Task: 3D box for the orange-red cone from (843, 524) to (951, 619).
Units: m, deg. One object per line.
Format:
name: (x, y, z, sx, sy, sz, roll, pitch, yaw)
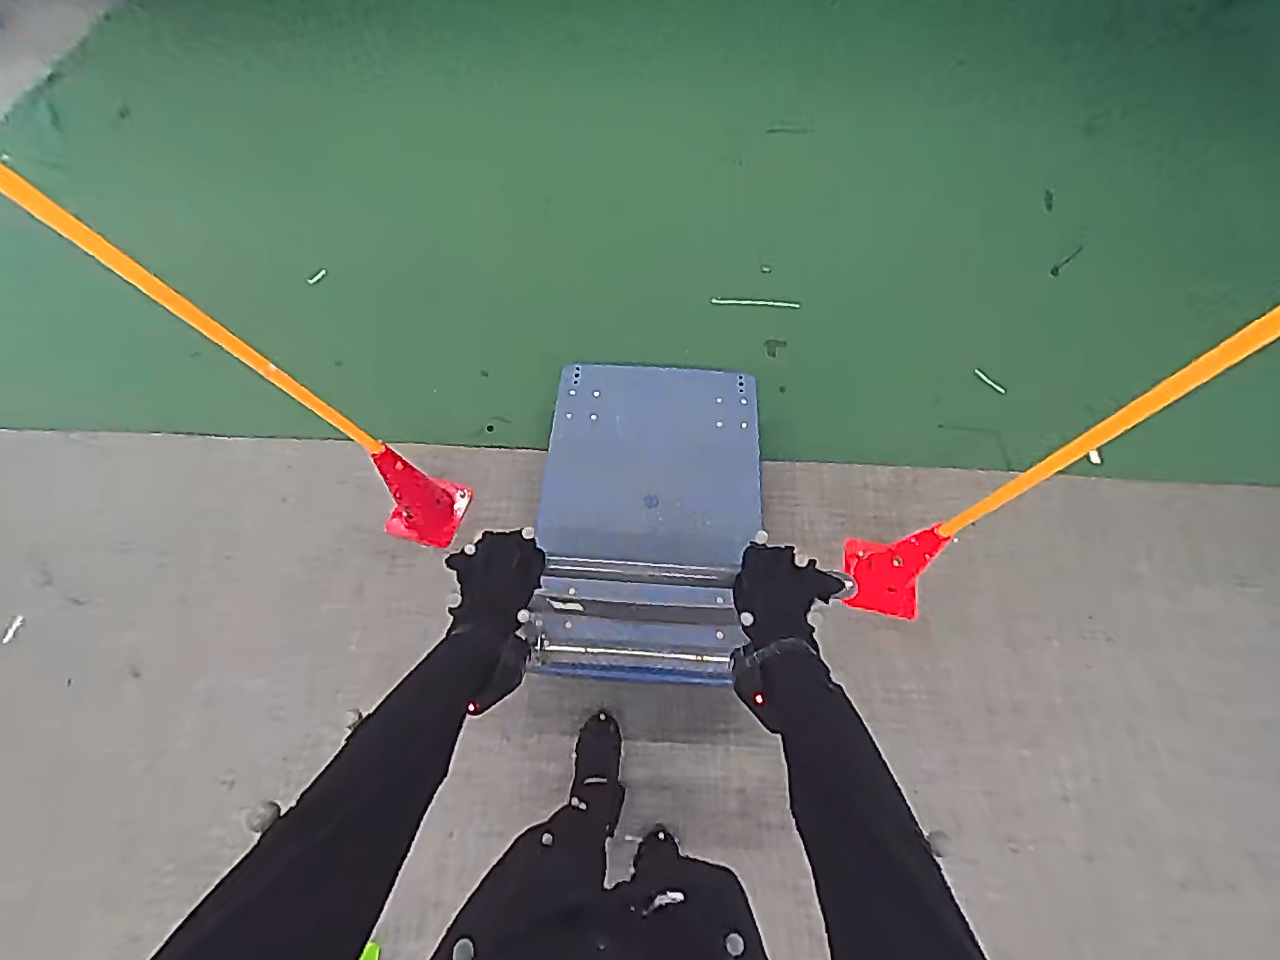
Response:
orange-red cone: (0.660, 0.192, 1.328, 0.198, 0.360, 0.199, 12, 65, 7)
